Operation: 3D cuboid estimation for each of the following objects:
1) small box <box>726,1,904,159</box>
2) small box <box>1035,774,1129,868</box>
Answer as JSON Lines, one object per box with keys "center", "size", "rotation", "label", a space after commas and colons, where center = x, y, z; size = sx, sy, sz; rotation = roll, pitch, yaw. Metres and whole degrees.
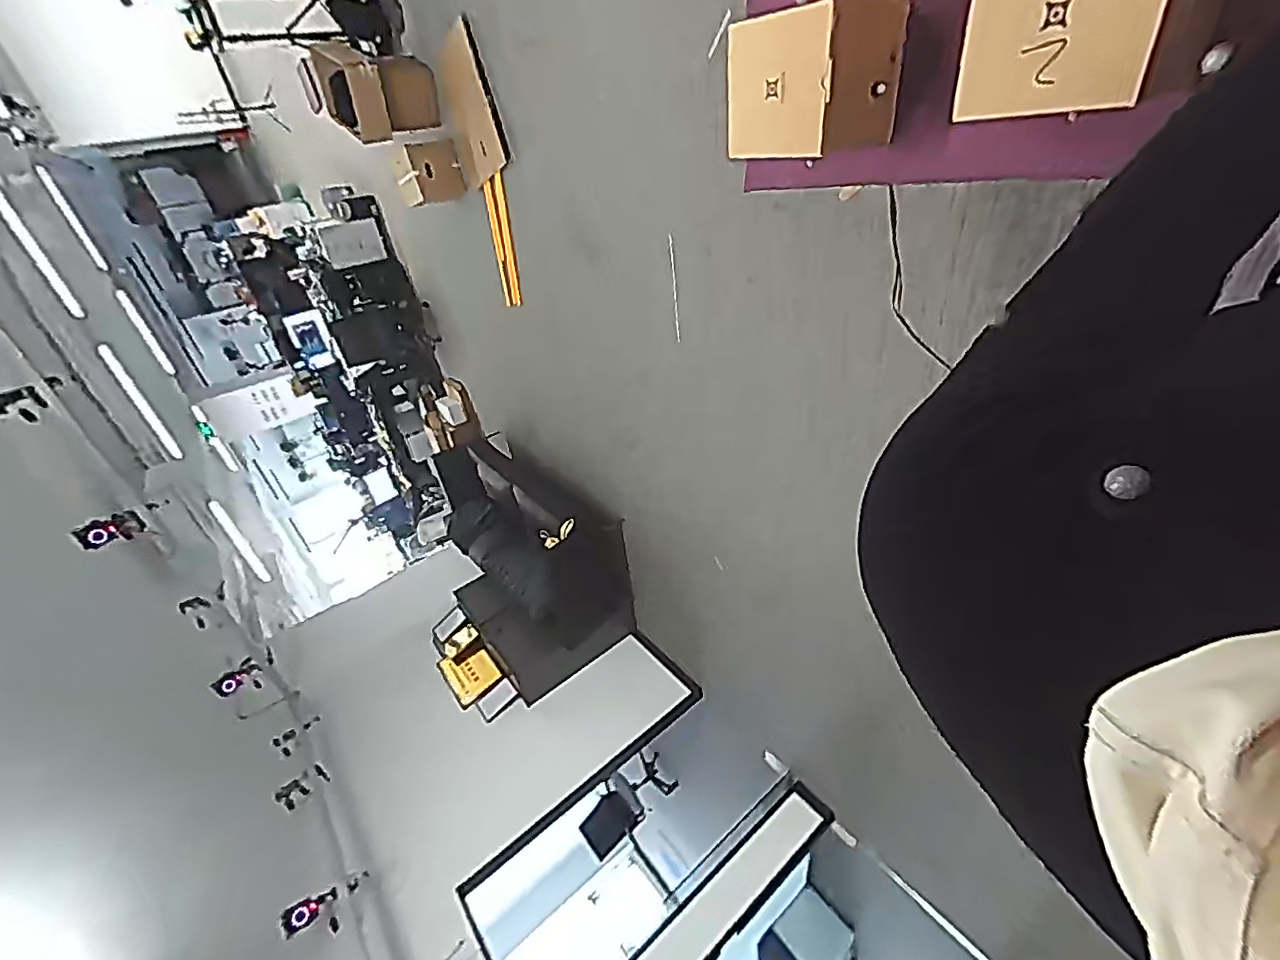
{"center": [0.245, -0.570, 0.786], "size": [0.179, 0.176, 0.168], "rotation": [32, 139, 43], "label": "small box"}
{"center": [1.481, 1.135, 1.809], "size": [0.179, 0.176, 0.168], "rotation": [35, 142, 40], "label": "small box"}
